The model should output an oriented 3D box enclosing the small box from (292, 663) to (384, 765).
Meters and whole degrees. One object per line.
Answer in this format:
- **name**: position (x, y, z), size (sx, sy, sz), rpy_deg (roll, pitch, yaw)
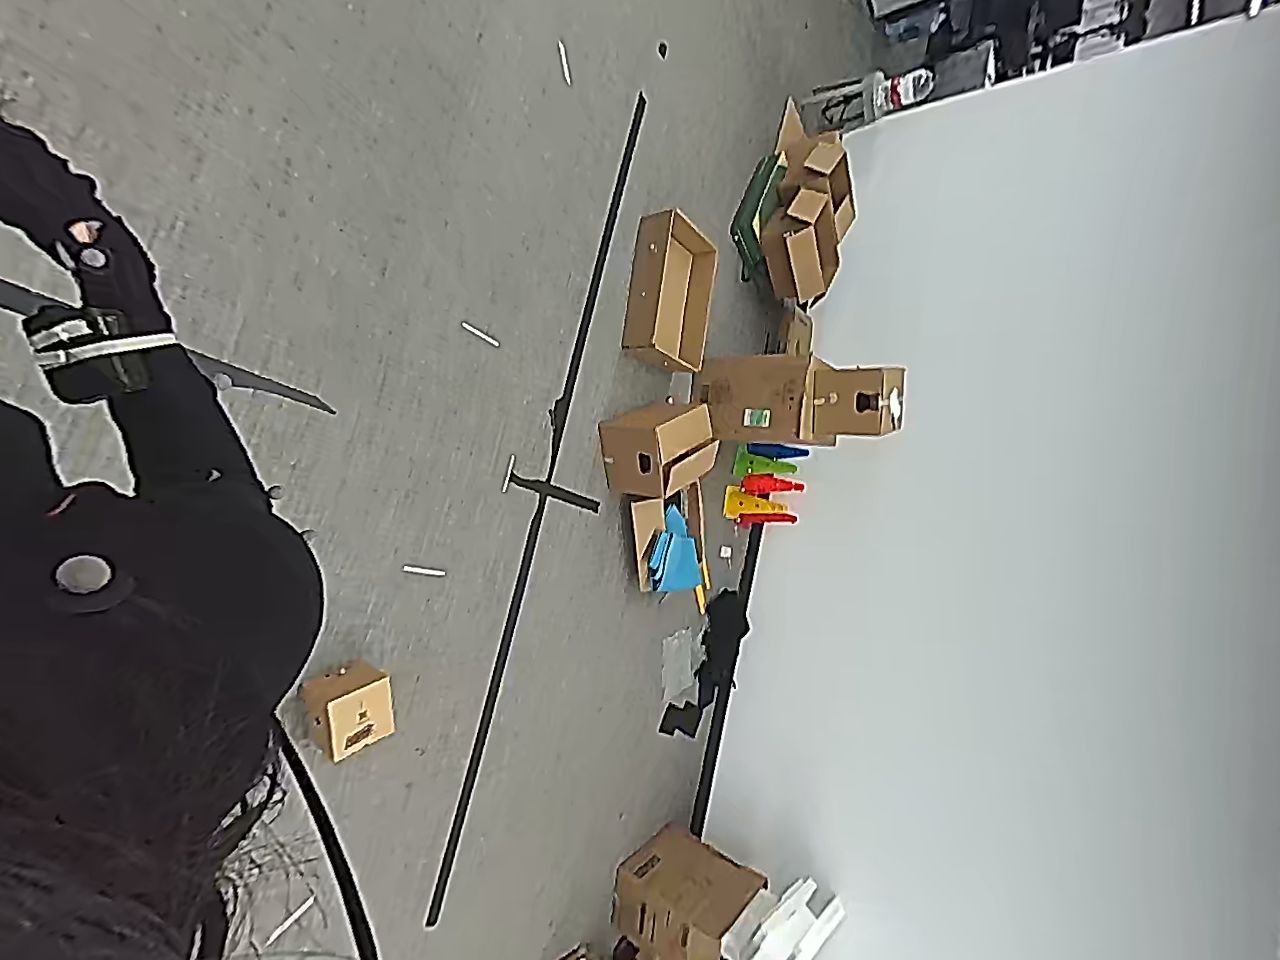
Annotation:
- **small box**: position (-0.829, 0.632, 1.484), size (0.168, 0.176, 0.179), rpy_deg (-12, 105, -52)
